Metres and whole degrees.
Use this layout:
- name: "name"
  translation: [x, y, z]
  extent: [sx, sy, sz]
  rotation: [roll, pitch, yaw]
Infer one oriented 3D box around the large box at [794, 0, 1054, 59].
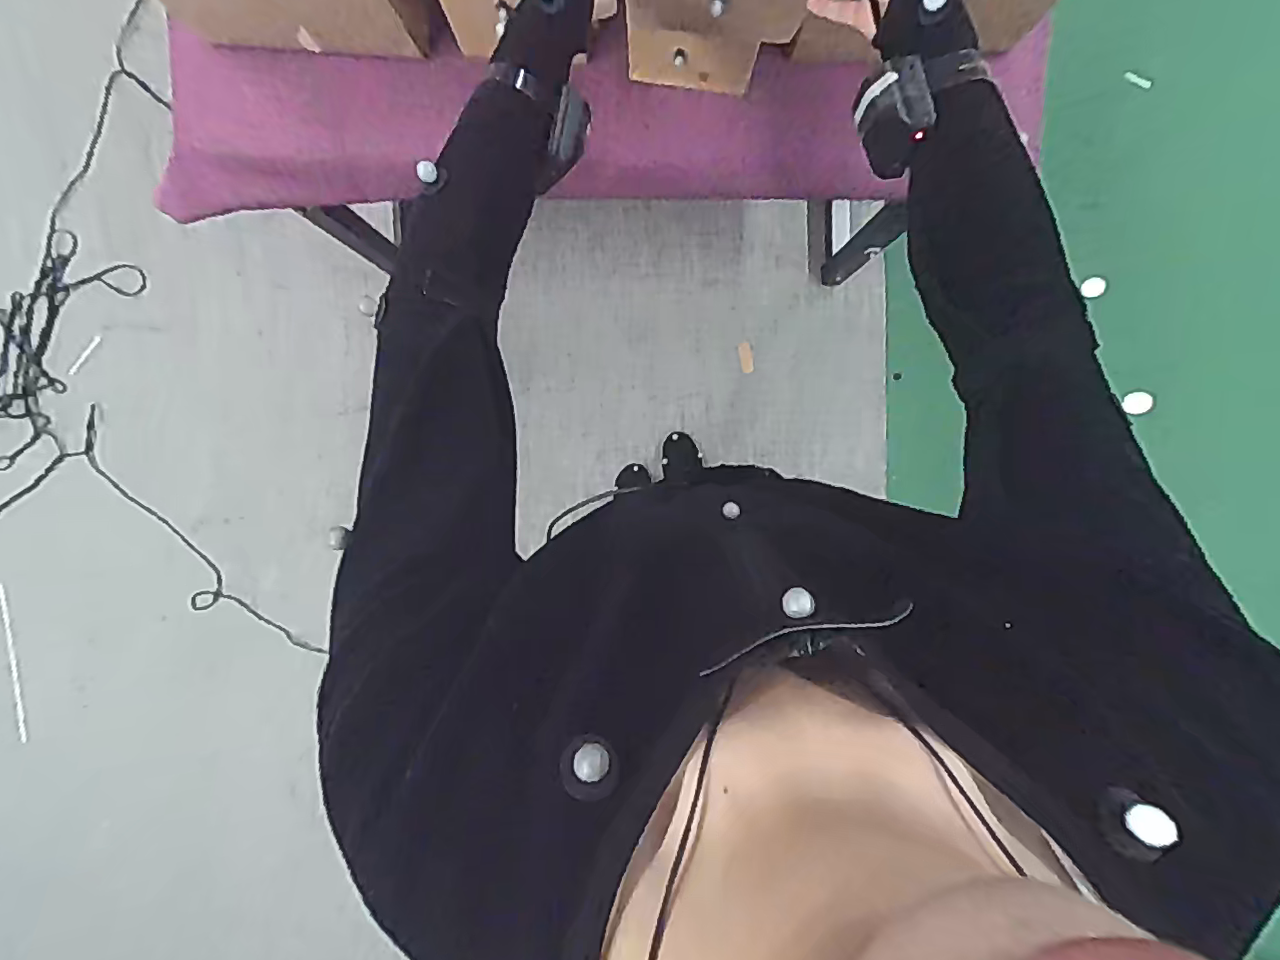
- name: "large box"
  translation: [0.354, -0.775, 0.586]
  extent: [0.320, 0.320, 0.408]
  rotation: [-2, 94, 3]
